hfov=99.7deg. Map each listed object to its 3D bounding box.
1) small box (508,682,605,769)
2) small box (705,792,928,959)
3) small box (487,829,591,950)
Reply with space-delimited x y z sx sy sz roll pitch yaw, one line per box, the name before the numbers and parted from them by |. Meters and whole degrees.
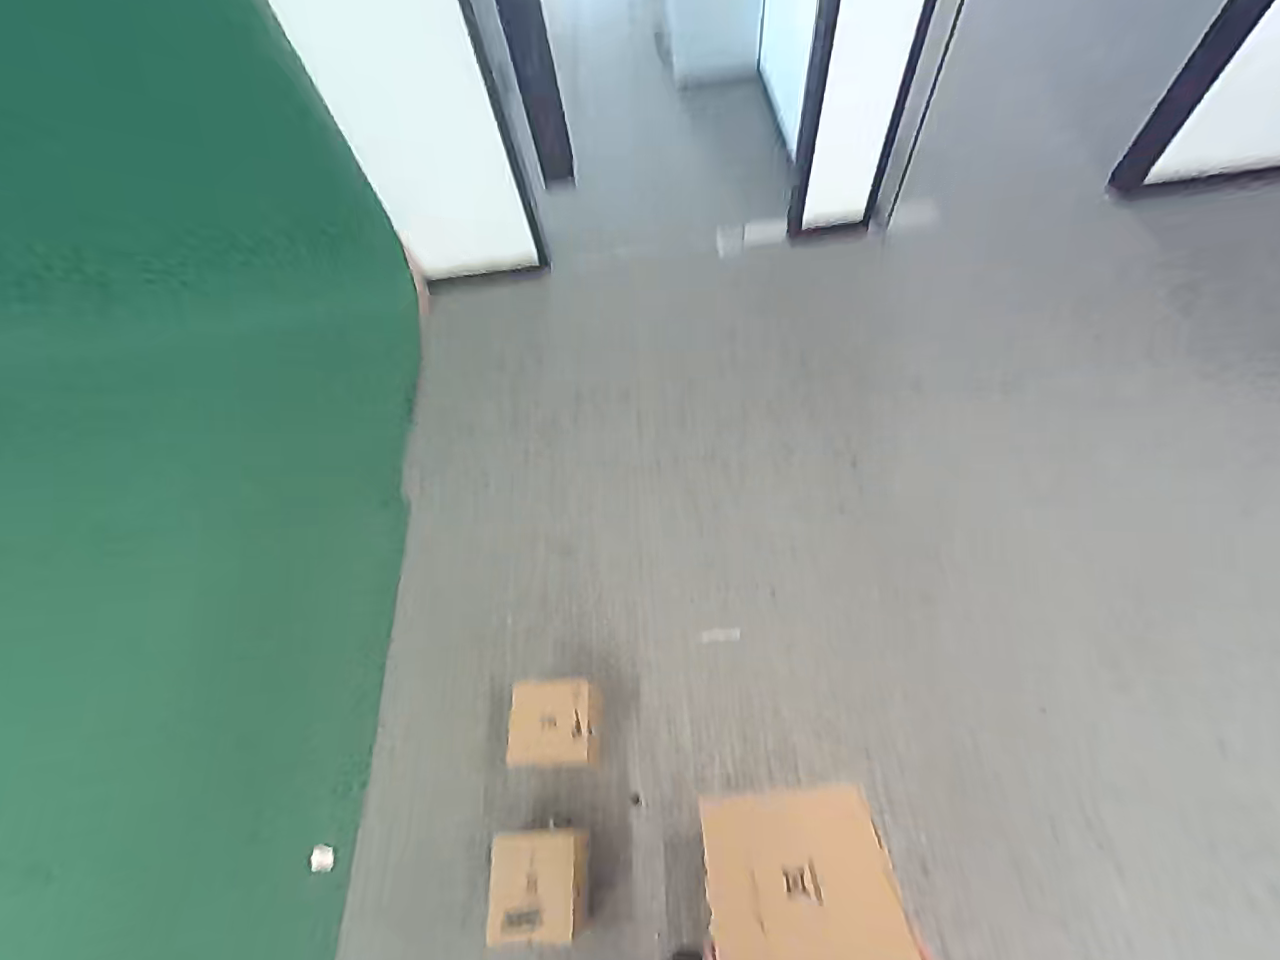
small box | -0.183 0.563 1.234 0.179 0.176 0.168 -4 60 6
small box | 0.164 0.440 0.540 0.179 0.176 0.168 -8 35 5
small box | -0.194 0.815 1.090 0.168 0.176 0.179 -4 59 4
